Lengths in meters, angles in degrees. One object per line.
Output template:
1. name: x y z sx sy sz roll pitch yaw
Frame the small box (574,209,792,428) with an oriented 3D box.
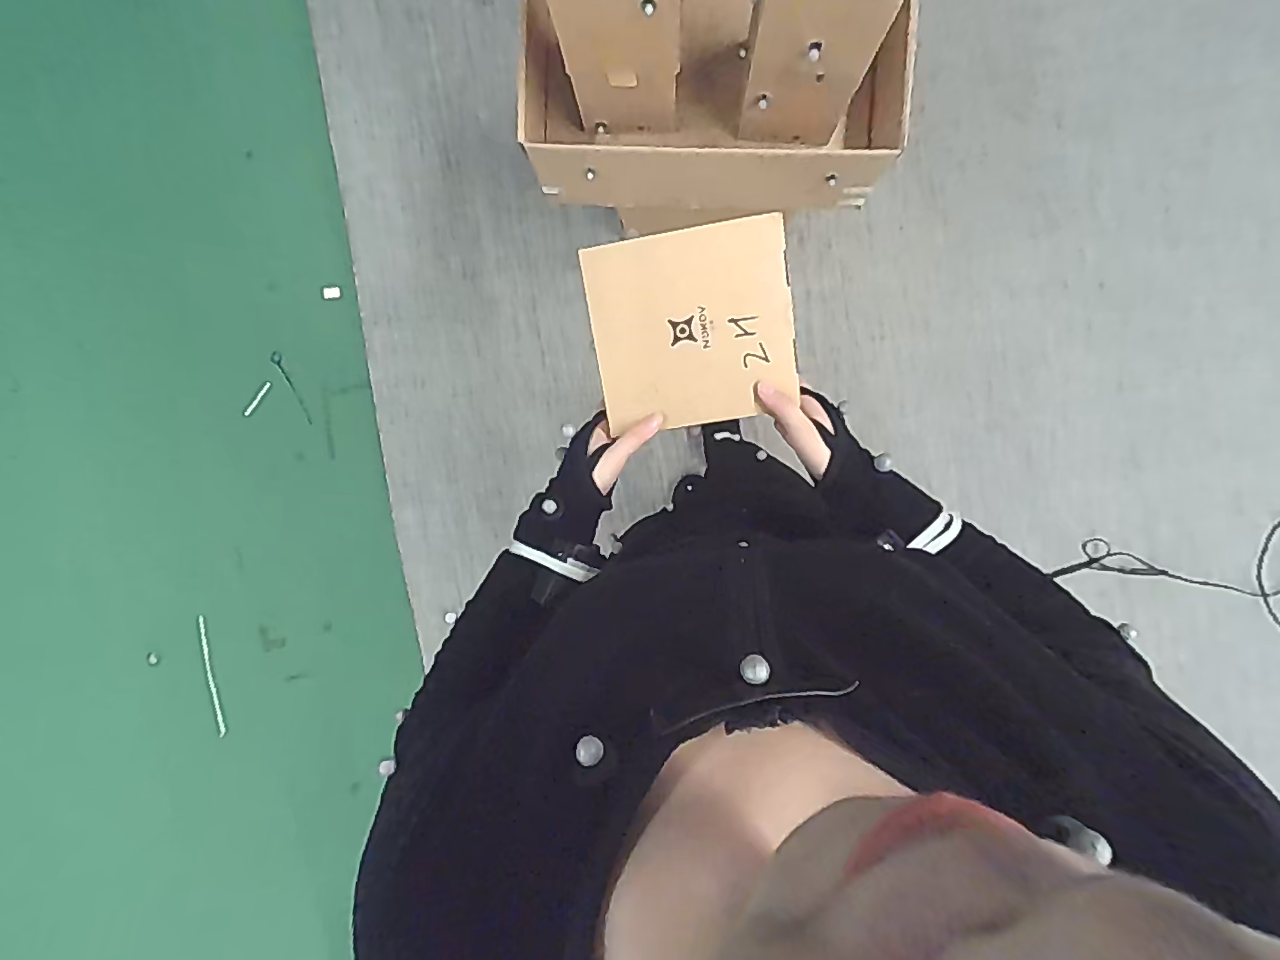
1. small box: 0.046 -0.153 0.550 0.179 0.176 0.168 -8 103 6

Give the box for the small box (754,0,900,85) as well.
1. small box: 0.253 -0.671 0.721 0.168 0.176 0.179 9 95 3

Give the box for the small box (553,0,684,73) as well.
1. small box: -0.028 -0.697 0.742 0.179 0.176 0.168 2 94 3
